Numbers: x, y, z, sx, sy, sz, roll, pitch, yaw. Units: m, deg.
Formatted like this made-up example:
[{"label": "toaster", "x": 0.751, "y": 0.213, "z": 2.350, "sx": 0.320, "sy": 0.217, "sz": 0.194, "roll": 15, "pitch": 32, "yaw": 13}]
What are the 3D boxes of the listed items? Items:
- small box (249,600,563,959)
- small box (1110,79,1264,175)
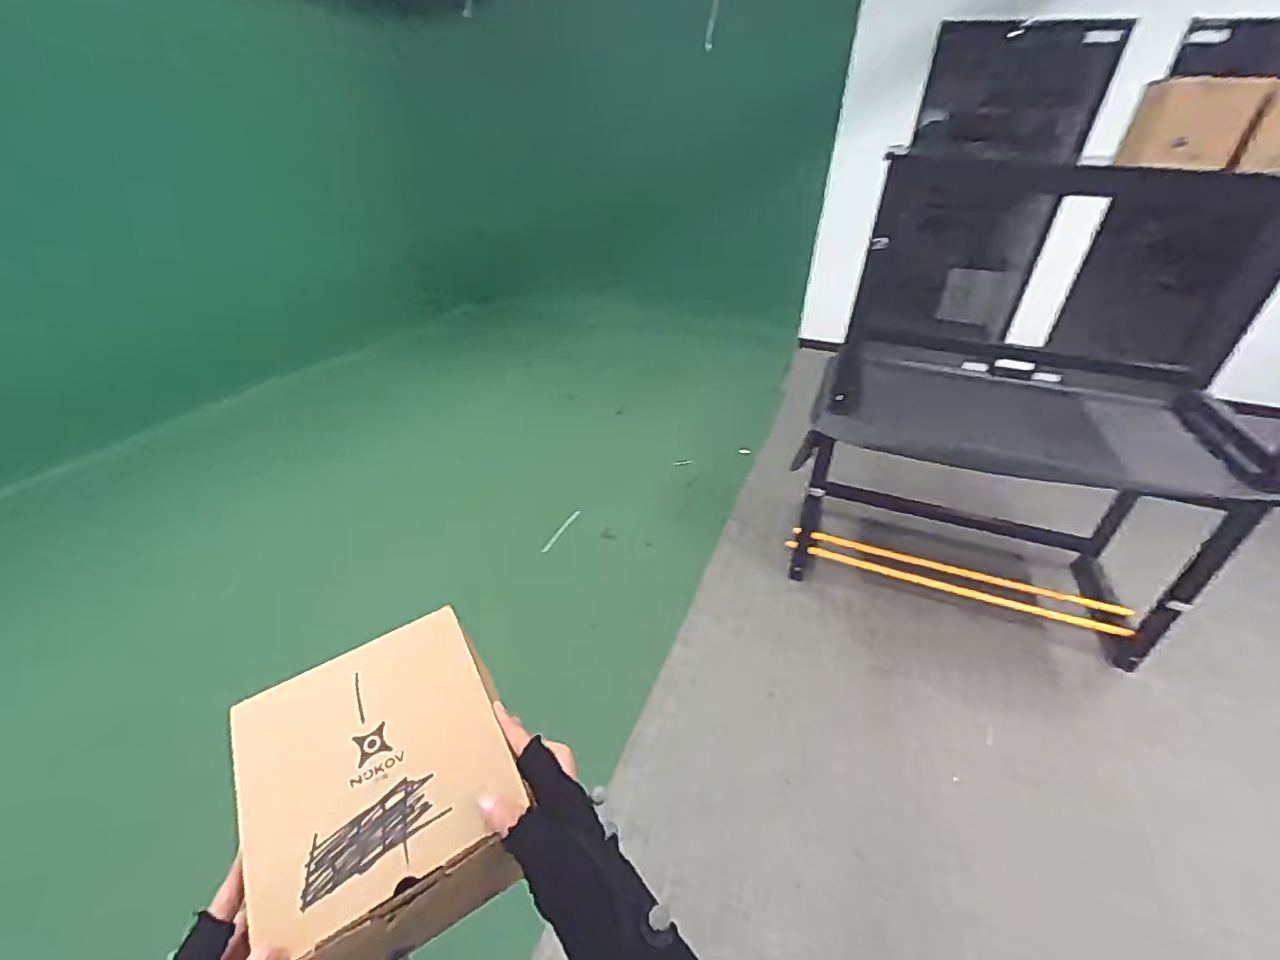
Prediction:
[{"label": "small box", "x": -0.172, "y": 0.236, "z": 0.429, "sx": 0.168, "sy": 0.176, "sz": 0.179, "roll": -23, "pitch": 51, "yaw": -19}, {"label": "small box", "x": 1.238, "y": -0.811, "z": 1.245, "sx": 0.168, "sy": 0.176, "sz": 0.179, "roll": 13, "pitch": 35, "yaw": 16}]
